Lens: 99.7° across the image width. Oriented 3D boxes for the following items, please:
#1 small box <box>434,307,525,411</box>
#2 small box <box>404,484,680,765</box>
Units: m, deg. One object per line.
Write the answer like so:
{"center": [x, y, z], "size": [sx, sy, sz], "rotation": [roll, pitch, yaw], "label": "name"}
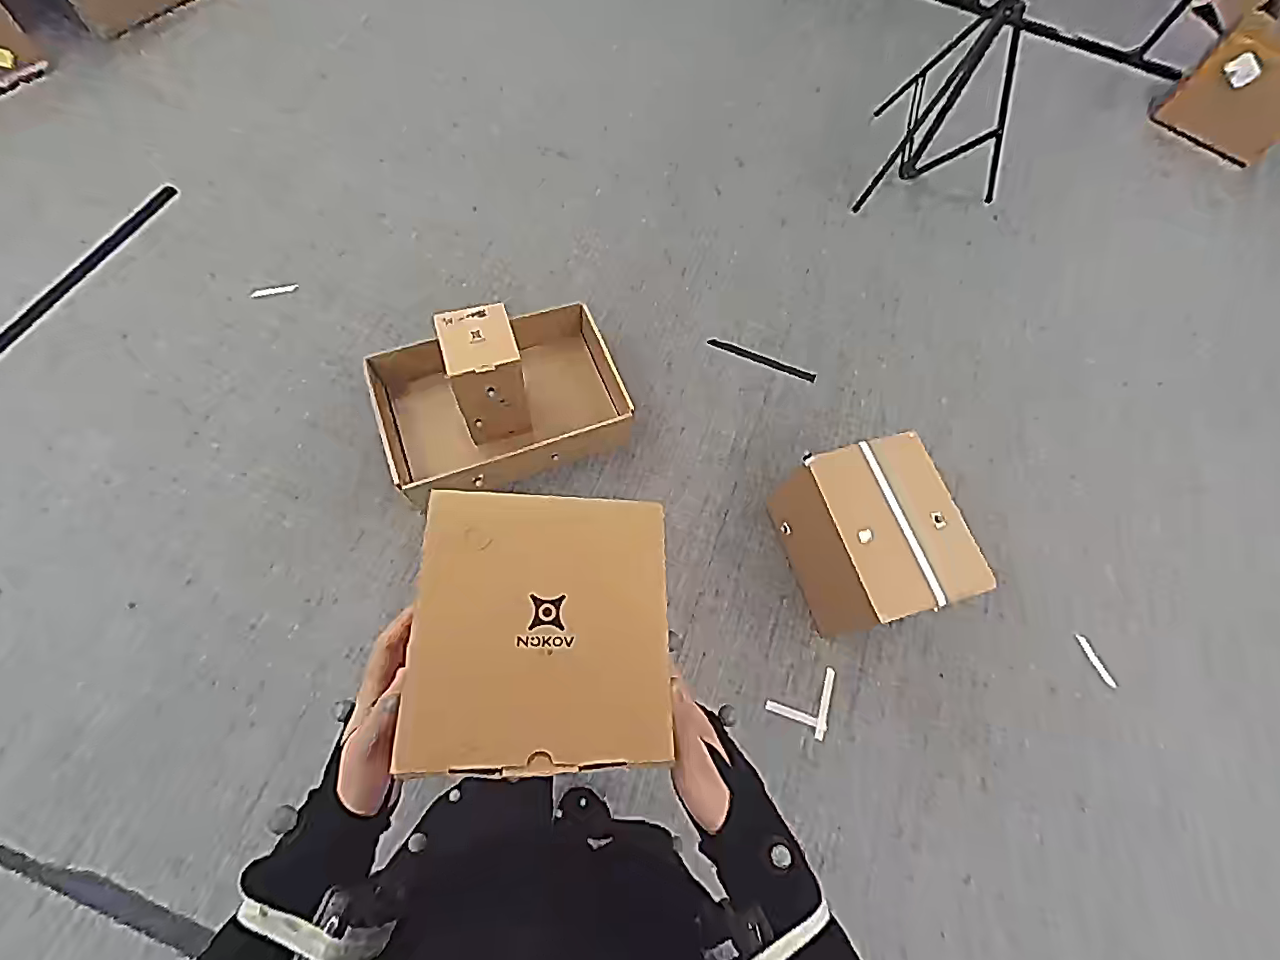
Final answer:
{"center": [-0.382, -0.283, 1.307], "size": [0.168, 0.176, 0.179], "rotation": [-15, 70, -13], "label": "small box"}
{"center": [-0.074, 0.119, 0.425], "size": [0.168, 0.176, 0.179], "rotation": [3, 66, -12], "label": "small box"}
